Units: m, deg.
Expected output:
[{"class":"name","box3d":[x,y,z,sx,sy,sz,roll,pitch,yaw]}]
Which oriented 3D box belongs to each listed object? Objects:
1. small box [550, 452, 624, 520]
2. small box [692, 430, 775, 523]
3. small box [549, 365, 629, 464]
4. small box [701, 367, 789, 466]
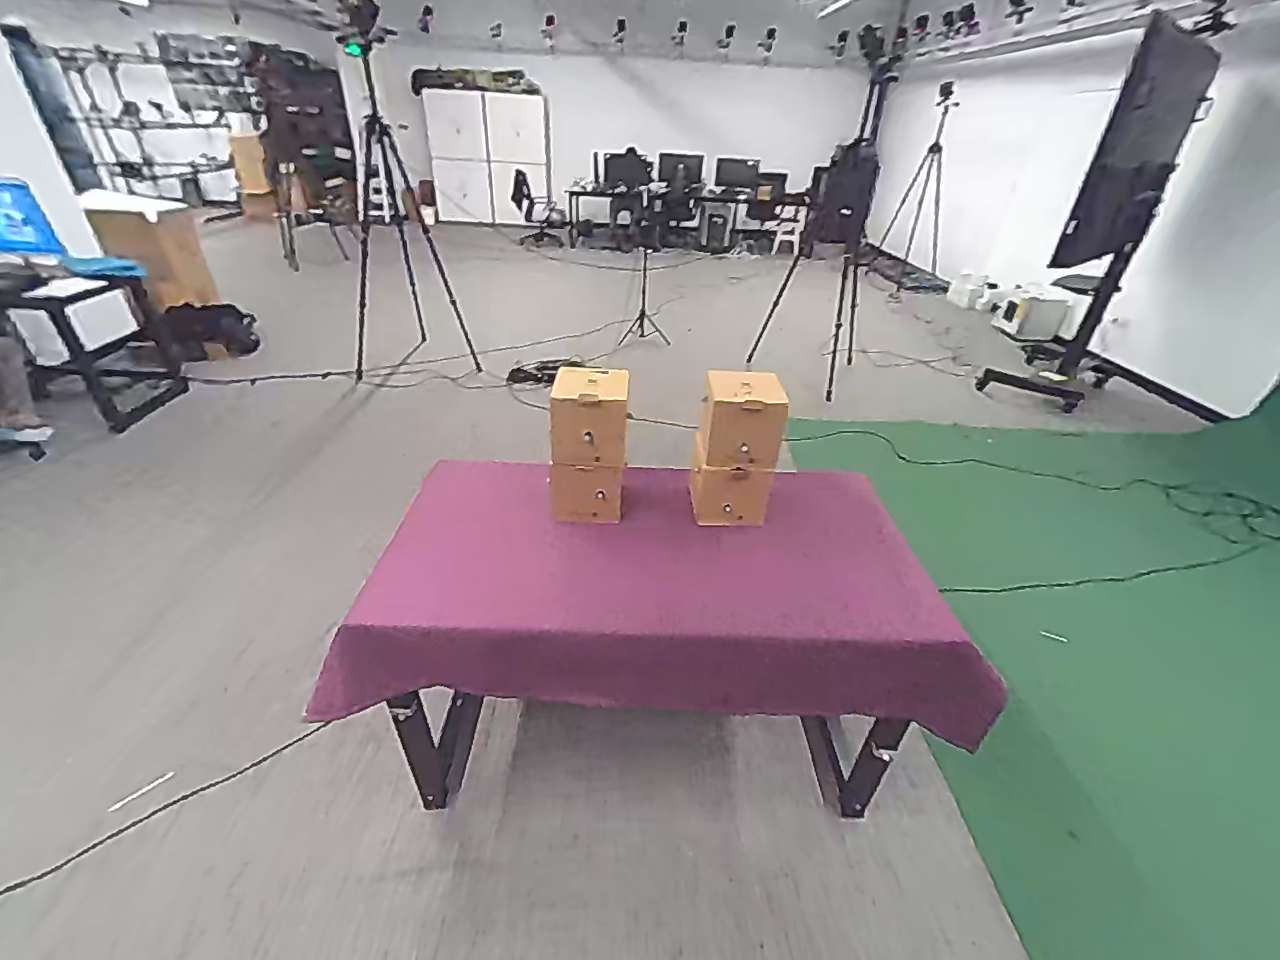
[{"class":"small box","box3d":[-0.124,-0.015,1.340,0.168,0.176,0.179,3,33,-2]},{"class":"small box","box3d":[0.225,-0.011,1.356,0.168,0.176,0.179,0,34,-3]},{"class":"small box","box3d":[-0.111,-0.150,1.247,0.168,0.176,0.179,3,34,-1]},{"class":"small box","box3d":[0.238,-0.152,1.271,0.168,0.176,0.179,2,34,0]}]
